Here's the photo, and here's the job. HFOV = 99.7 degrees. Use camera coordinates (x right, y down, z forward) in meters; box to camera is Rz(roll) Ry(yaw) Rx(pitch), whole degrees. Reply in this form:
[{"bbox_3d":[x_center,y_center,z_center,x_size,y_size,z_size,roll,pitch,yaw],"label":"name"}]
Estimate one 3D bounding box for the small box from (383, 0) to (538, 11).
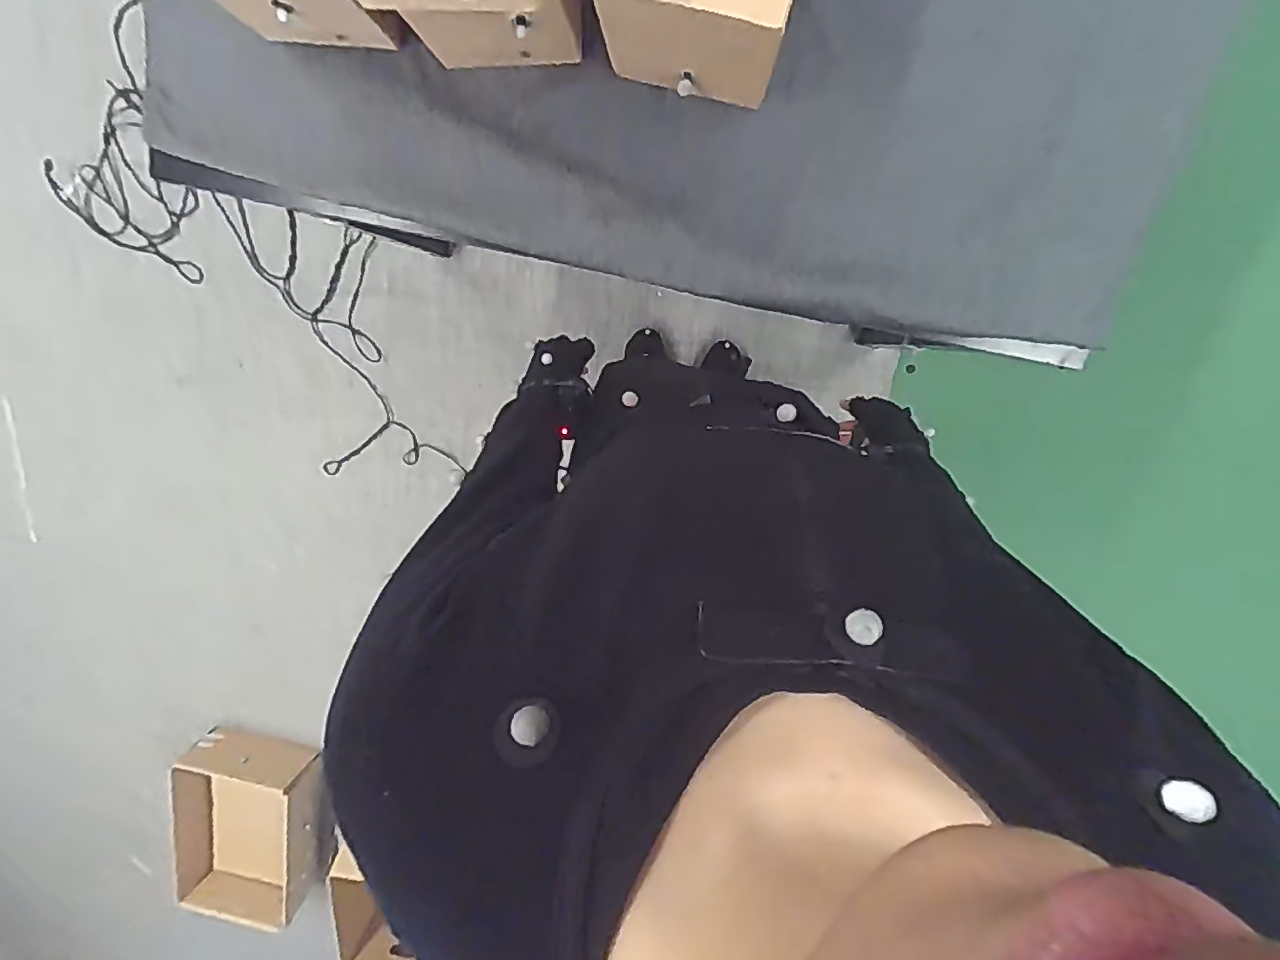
[{"bbox_3d":[-0.167,-0.479,0.385,0.168,0.176,0.179,4,104,3],"label":"small box"}]
